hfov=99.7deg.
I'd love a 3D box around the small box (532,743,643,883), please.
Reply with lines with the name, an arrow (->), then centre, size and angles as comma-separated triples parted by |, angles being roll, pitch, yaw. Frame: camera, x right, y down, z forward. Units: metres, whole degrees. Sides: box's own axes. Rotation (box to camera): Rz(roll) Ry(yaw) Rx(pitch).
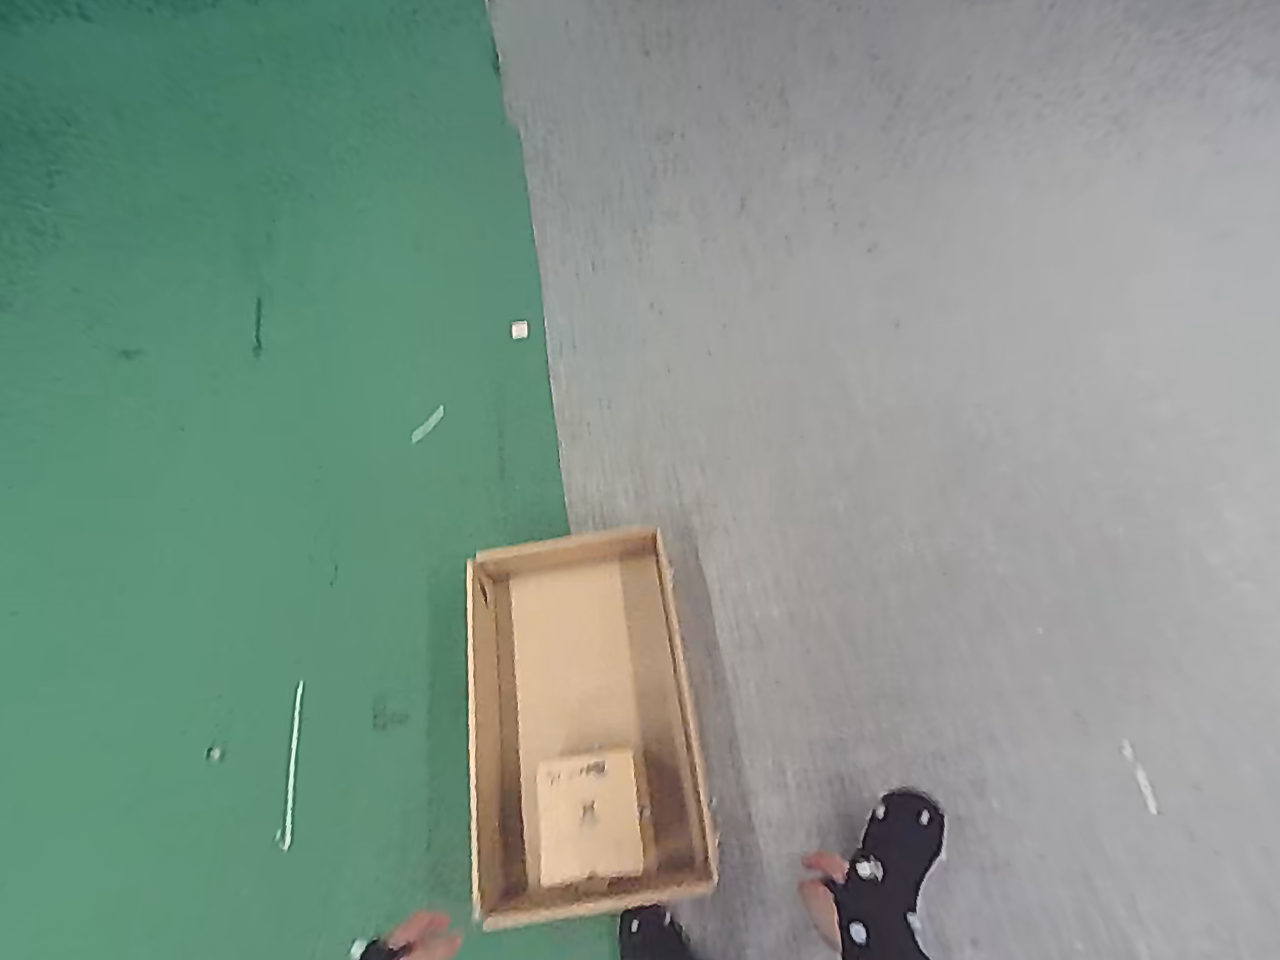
small box -> -0.087, 0.570, 0.947 | 0.168, 0.176, 0.179 | -7, 66, 0
